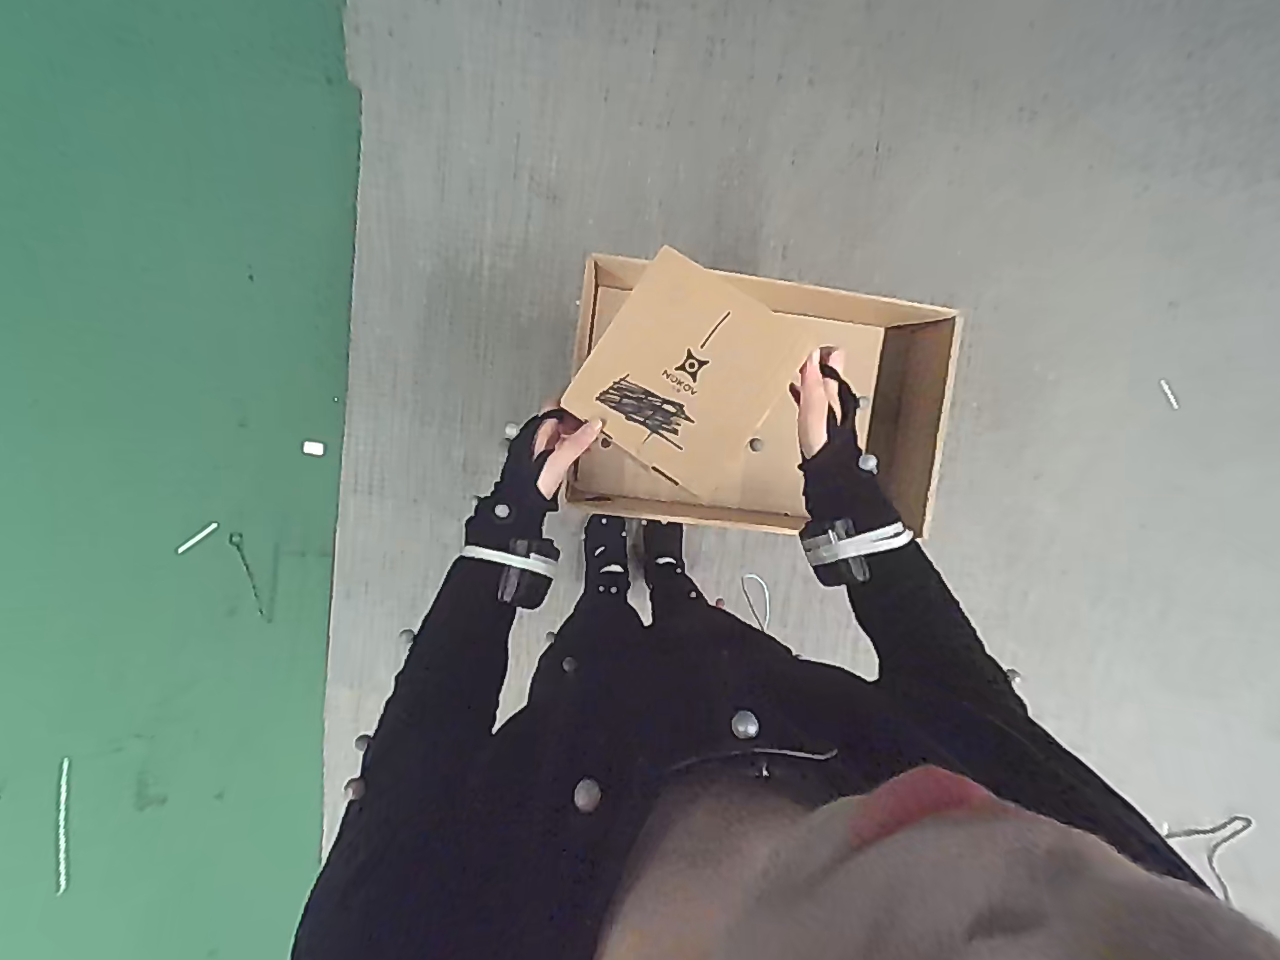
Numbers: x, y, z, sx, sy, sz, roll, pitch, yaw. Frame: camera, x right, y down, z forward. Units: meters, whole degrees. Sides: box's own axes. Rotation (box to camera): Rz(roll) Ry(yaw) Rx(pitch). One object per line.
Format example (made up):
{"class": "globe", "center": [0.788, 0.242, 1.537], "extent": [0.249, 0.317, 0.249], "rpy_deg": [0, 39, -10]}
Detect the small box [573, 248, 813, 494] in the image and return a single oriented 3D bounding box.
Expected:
{"class": "small box", "center": [0.058, -0.102, 0.576], "extent": [0.168, 0.176, 0.179], "rpy_deg": [30, 95, 7]}
